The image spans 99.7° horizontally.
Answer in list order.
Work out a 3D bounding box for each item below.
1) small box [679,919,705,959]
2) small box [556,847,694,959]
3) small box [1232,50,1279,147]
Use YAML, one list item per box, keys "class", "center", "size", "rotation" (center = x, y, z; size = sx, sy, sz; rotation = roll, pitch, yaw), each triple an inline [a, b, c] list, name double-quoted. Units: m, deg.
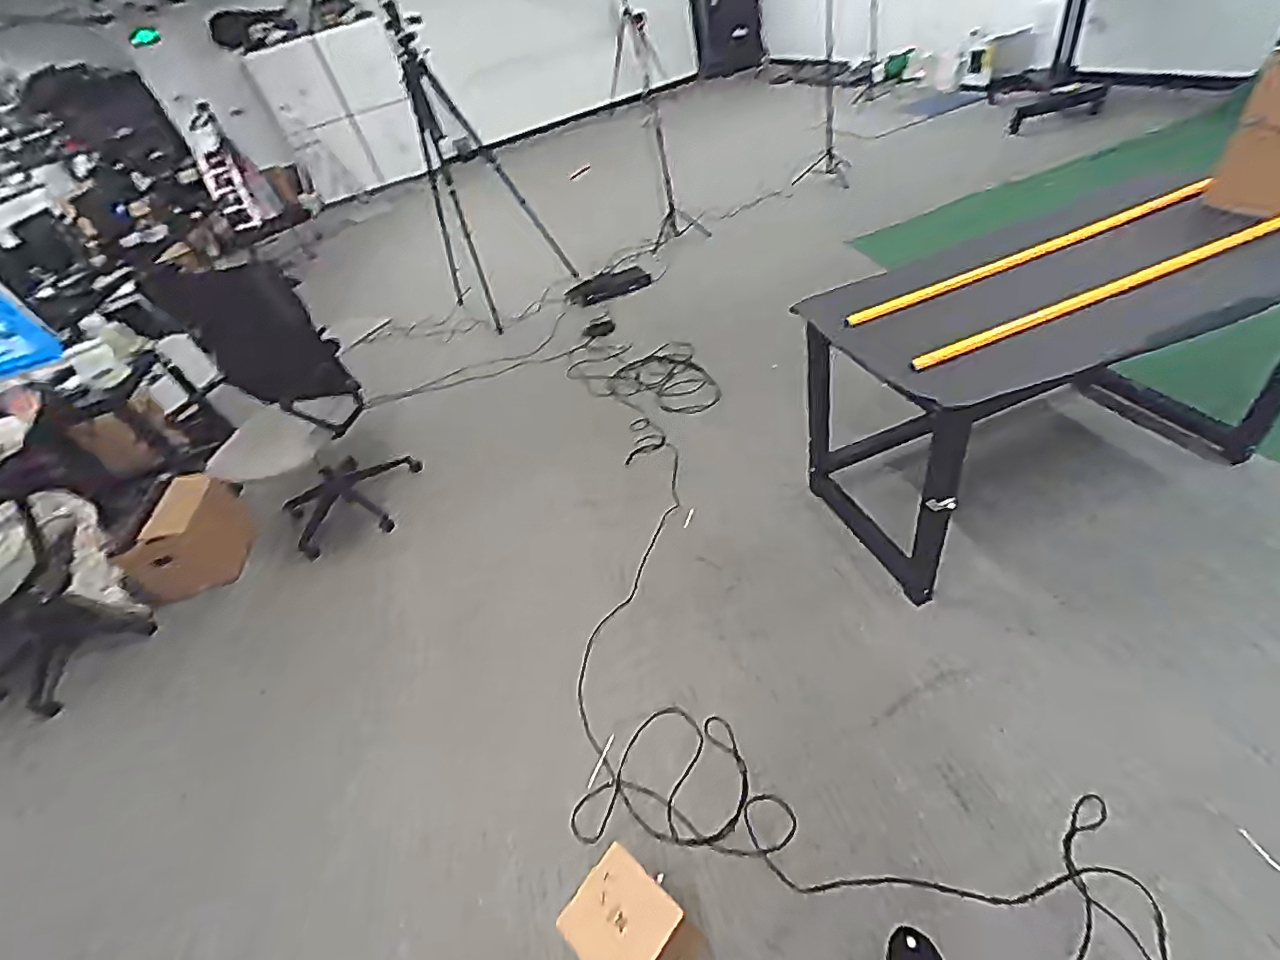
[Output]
- class: "small box"
  center: [0.016, 0.955, 1.109]
  size: [0.179, 0.176, 0.168]
  rotation: [19, 53, 33]
- class: "small box"
  center: [-0.020, 0.835, 1.001]
  size: [0.179, 0.176, 0.168]
  rotation: [25, 56, 37]
- class: "small box"
  center: [1.515, -0.874, 1.218]
  size: [0.179, 0.176, 0.168]
  rotation: [-19, 42, -1]
